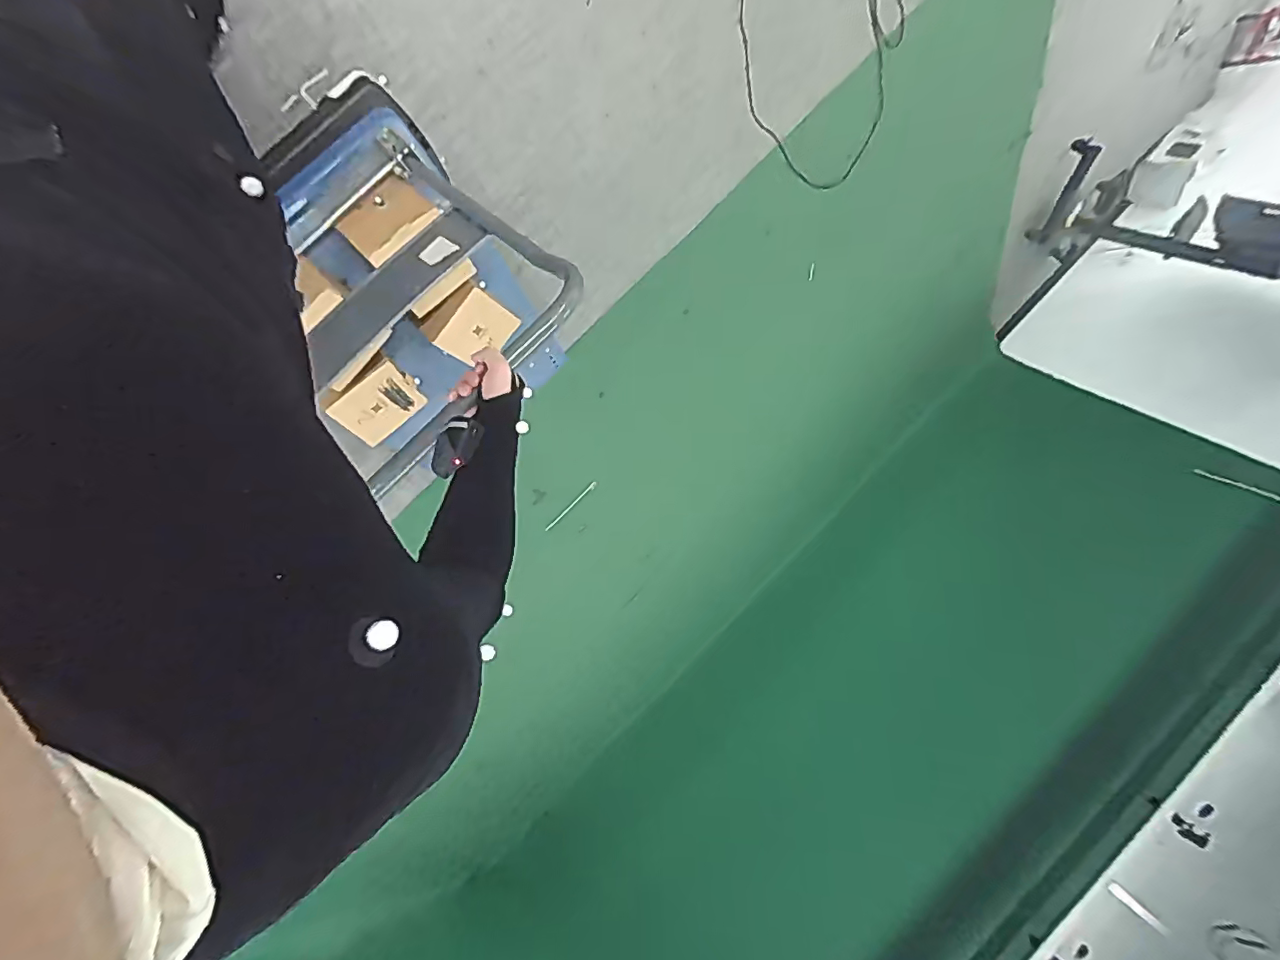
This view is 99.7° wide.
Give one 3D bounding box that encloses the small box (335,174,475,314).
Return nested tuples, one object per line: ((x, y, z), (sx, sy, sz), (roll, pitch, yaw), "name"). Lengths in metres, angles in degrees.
((-0.487, -0.493, 1.129), (0.168, 0.176, 0.179), (-42, 153, -7), "small box")

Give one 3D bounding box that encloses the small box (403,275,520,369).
((-0.438, -0.407, 1.320), (0.168, 0.176, 0.179), (-49, 154, 7), "small box")
